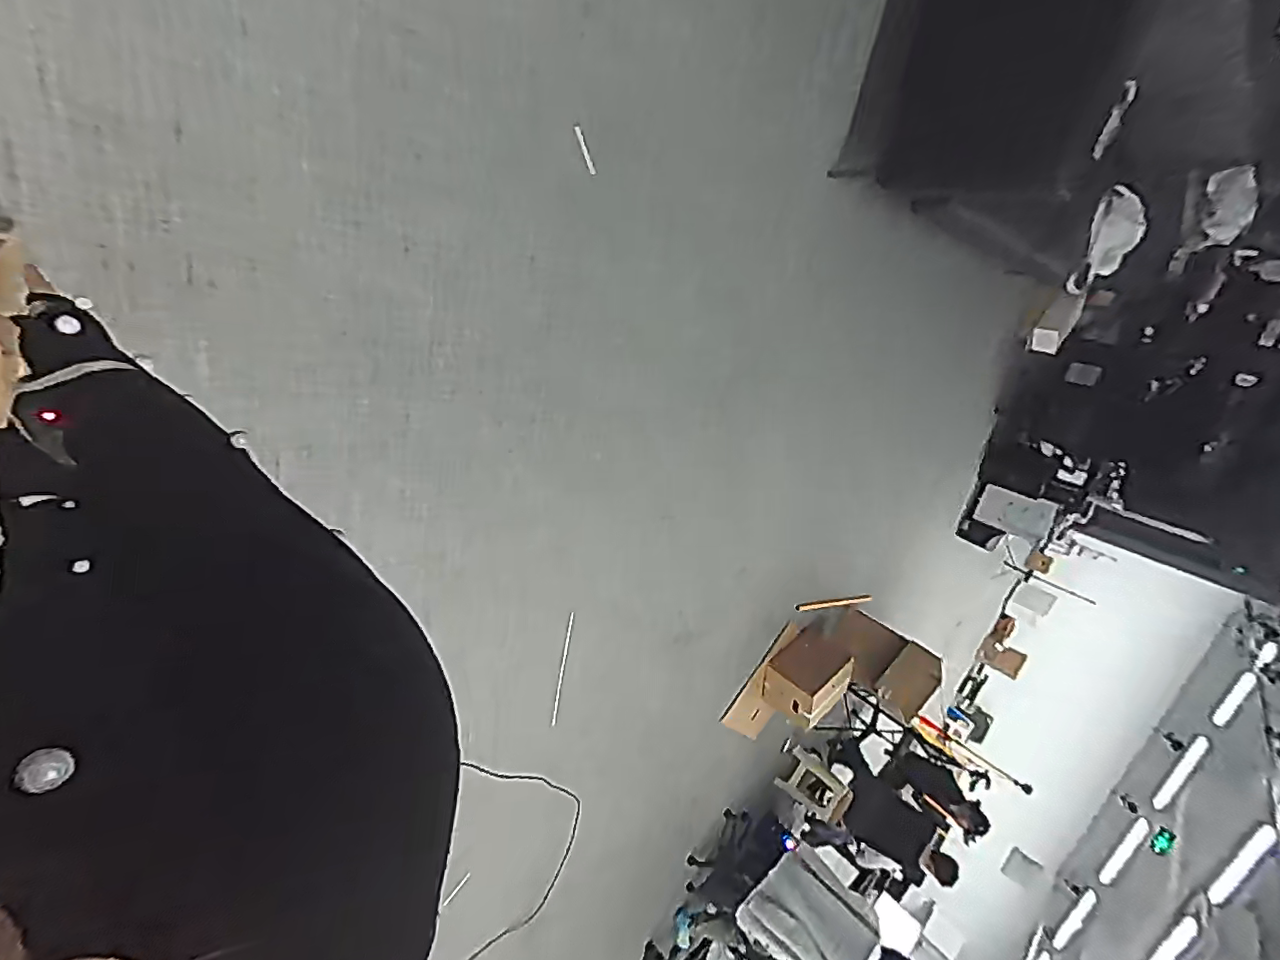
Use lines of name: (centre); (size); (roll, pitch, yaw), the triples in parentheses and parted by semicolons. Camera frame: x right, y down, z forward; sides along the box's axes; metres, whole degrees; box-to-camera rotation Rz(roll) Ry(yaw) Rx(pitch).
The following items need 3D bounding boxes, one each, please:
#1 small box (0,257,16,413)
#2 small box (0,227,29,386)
small box: (-0.755, -0.157, 0.535); (0.168, 0.176, 0.179); (-3, 113, -45)
small box: (-0.862, -0.224, 0.642); (0.168, 0.176, 0.179); (-5, 116, -45)
